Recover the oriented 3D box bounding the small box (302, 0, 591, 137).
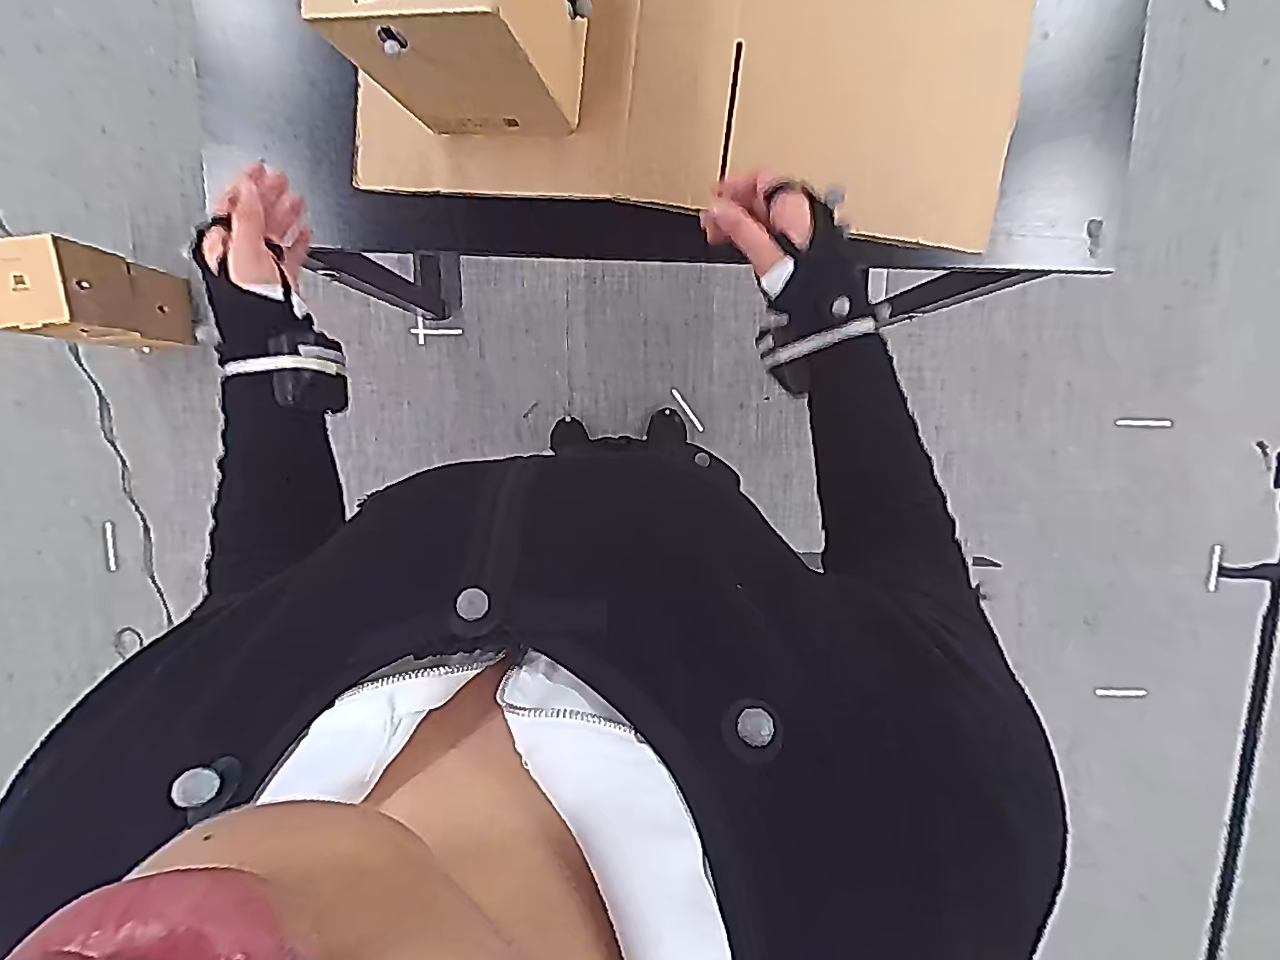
[{"bbox_3d":[-0.147,-0.429,0.458,0.168,0.176,0.179,8,97,13],"label":"small box"}]

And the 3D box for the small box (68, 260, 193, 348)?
[{"bbox_3d":[-1.248,-0.424,1.321,0.168,0.176,0.179,-3,98,-1],"label":"small box"}]

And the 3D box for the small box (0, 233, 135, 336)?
[{"bbox_3d":[-1.245,-0.408,1.159,0.168,0.176,0.179,-6,97,-2],"label":"small box"}]
